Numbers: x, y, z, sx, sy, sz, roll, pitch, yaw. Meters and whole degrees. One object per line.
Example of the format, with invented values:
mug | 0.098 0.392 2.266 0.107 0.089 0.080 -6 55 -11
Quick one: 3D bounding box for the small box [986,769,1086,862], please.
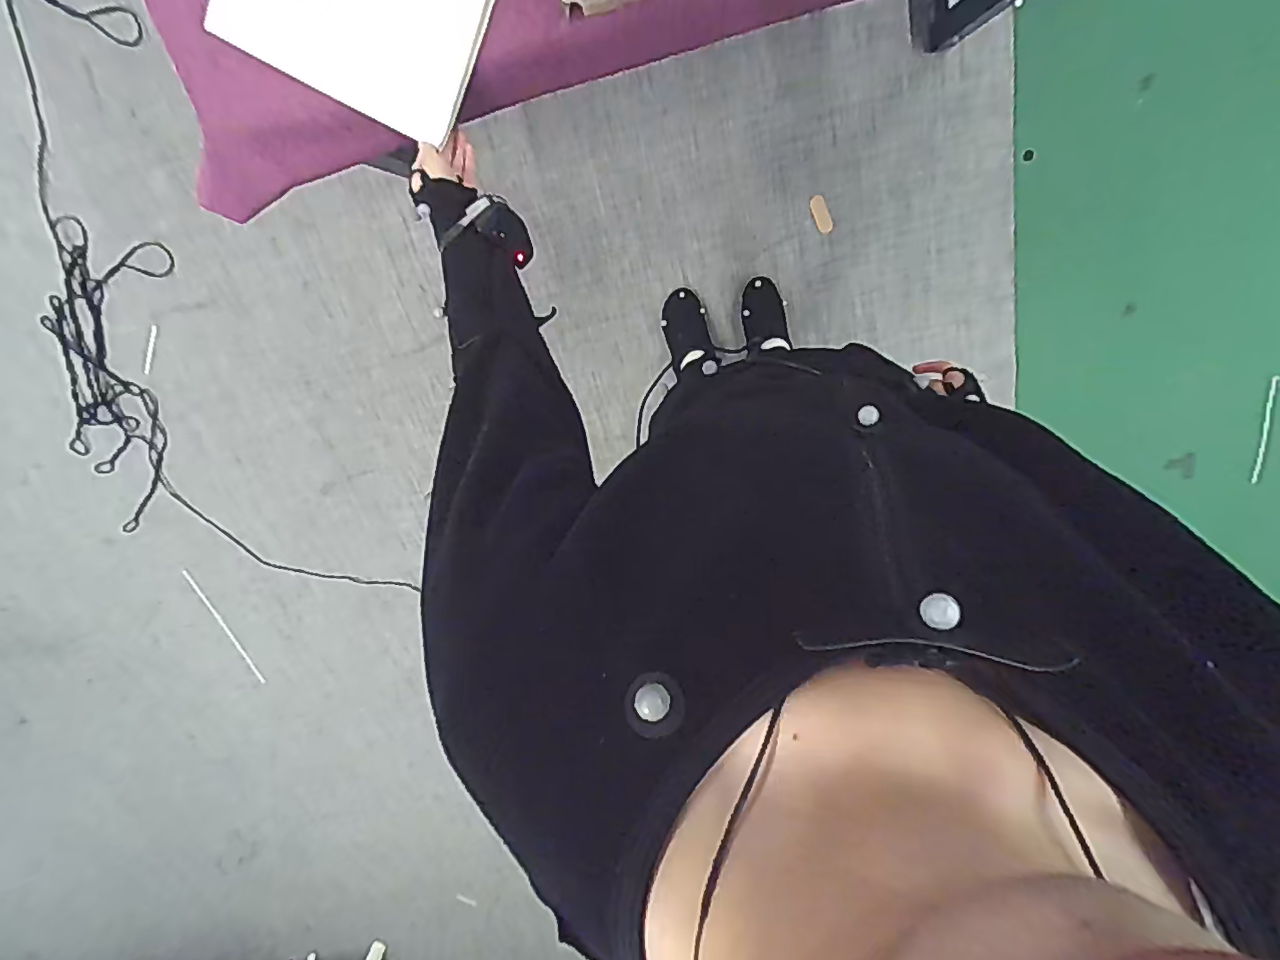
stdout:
small box | 1.085 0.922 1.474 0.168 0.176 0.179 -26 108 11
